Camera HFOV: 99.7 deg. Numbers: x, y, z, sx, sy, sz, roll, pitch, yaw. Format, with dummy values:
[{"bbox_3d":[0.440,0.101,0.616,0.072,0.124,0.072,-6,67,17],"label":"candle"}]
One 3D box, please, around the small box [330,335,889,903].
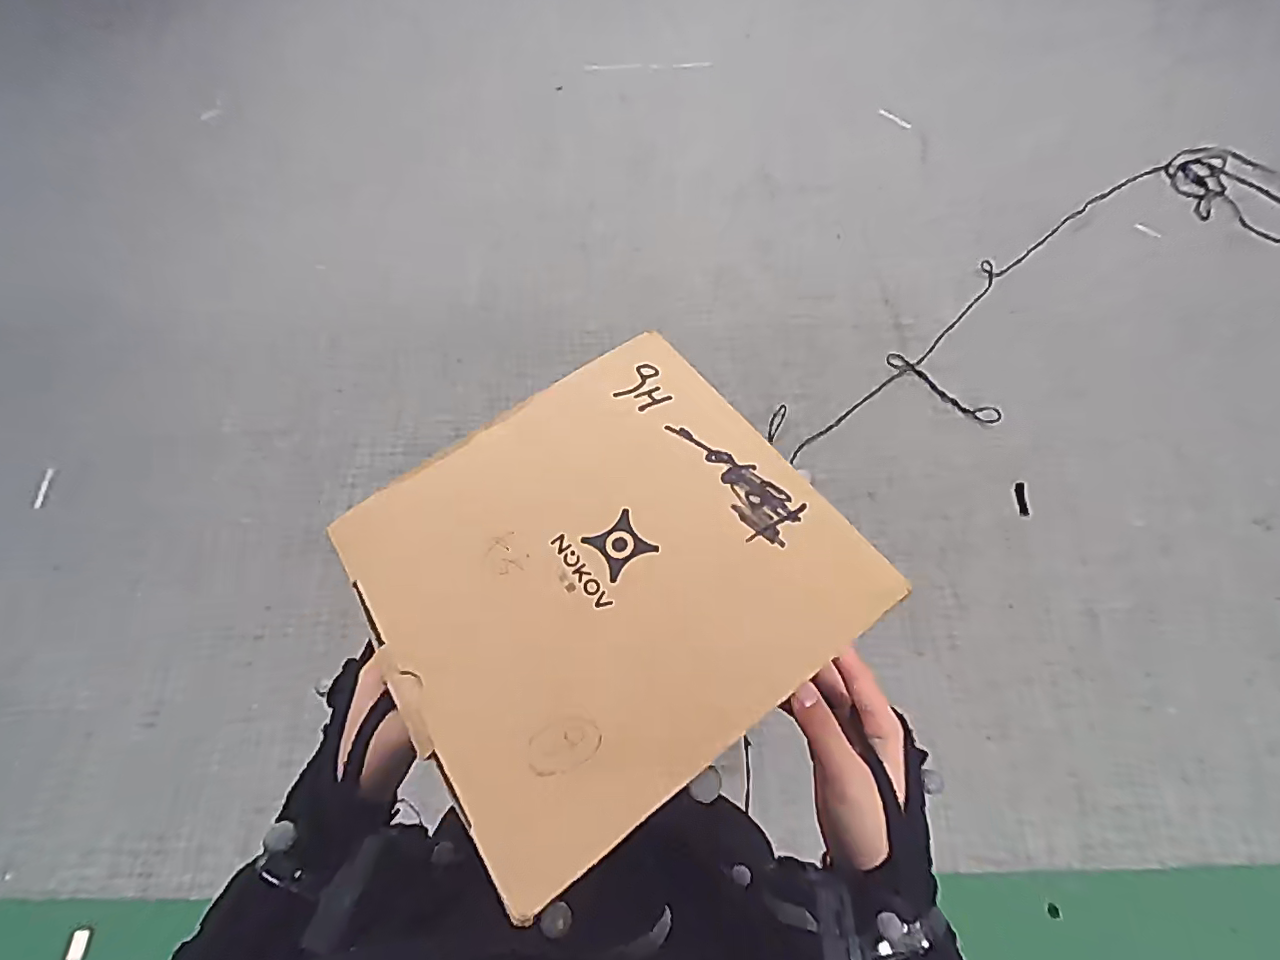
[{"bbox_3d":[-0.013,0.067,0.288,0.179,0.176,0.168,-34,65,-12],"label":"small box"}]
